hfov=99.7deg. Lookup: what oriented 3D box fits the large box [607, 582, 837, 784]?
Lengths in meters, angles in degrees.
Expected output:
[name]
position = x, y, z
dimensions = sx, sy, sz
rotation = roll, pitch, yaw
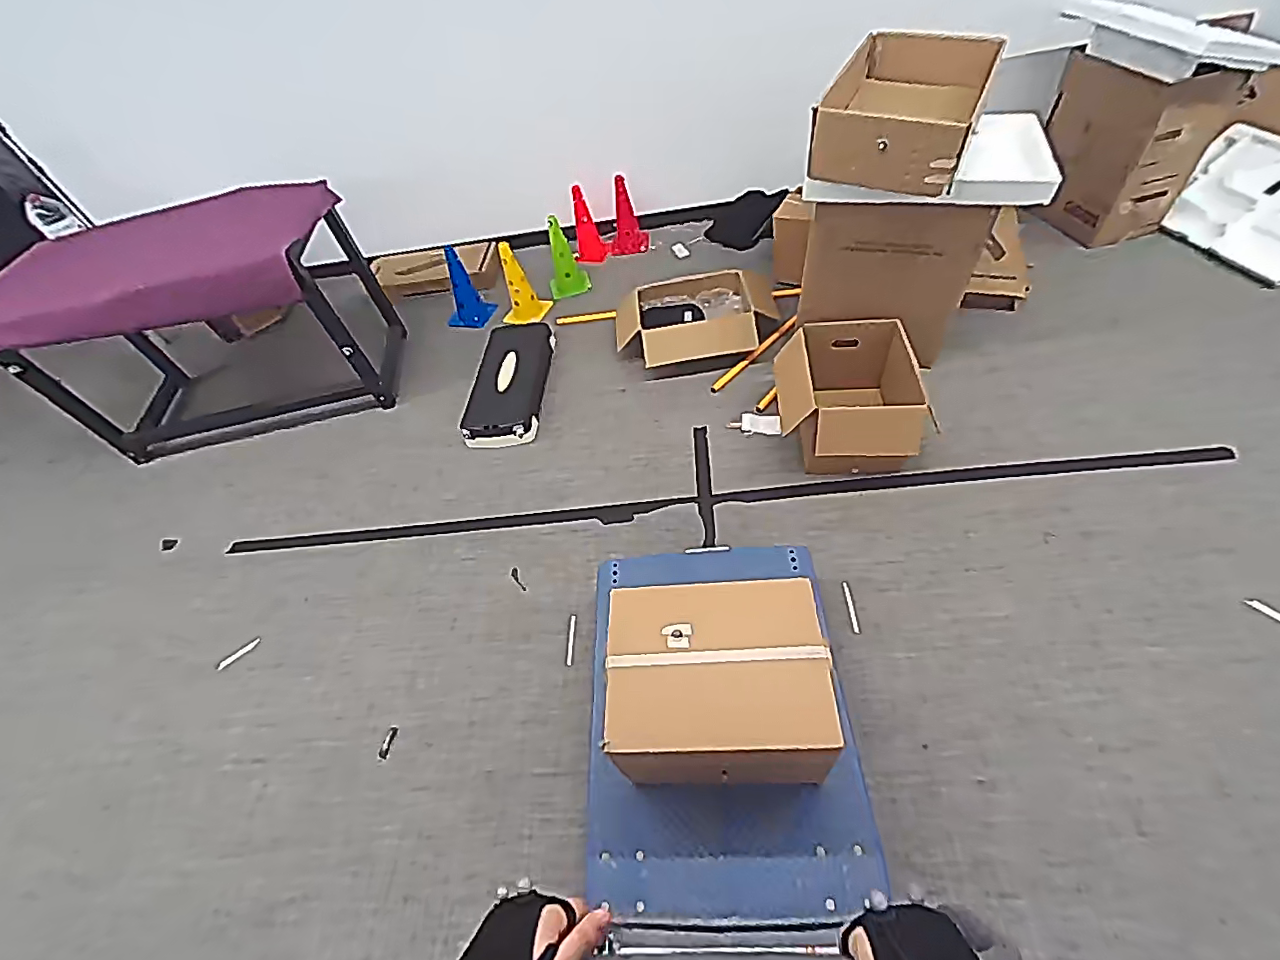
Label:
[large box]
position = 0.162, 0.437, 1.135
dimensions = 0.408, 0.320, 0.320
rotation = -6, 50, 8
